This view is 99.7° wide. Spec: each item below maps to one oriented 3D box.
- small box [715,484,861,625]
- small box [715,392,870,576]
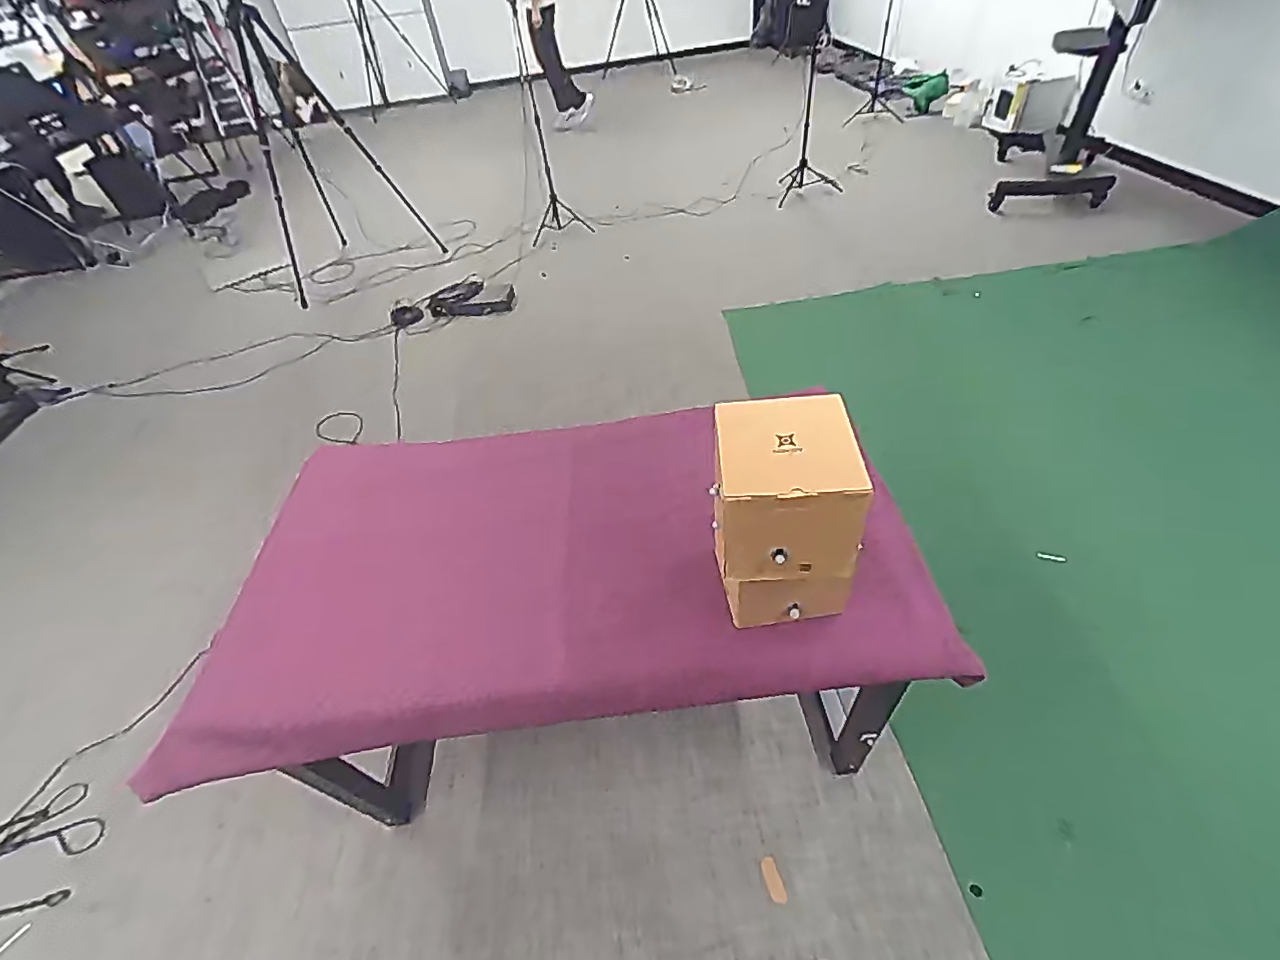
[{"bbox_3d":[0.217,0.105,0.844,0.179,0.176,0.168,-9,44,1],"label":"small box"},{"bbox_3d":[0.185,0.007,0.716,0.168,0.176,0.179,-4,46,7],"label":"small box"}]
